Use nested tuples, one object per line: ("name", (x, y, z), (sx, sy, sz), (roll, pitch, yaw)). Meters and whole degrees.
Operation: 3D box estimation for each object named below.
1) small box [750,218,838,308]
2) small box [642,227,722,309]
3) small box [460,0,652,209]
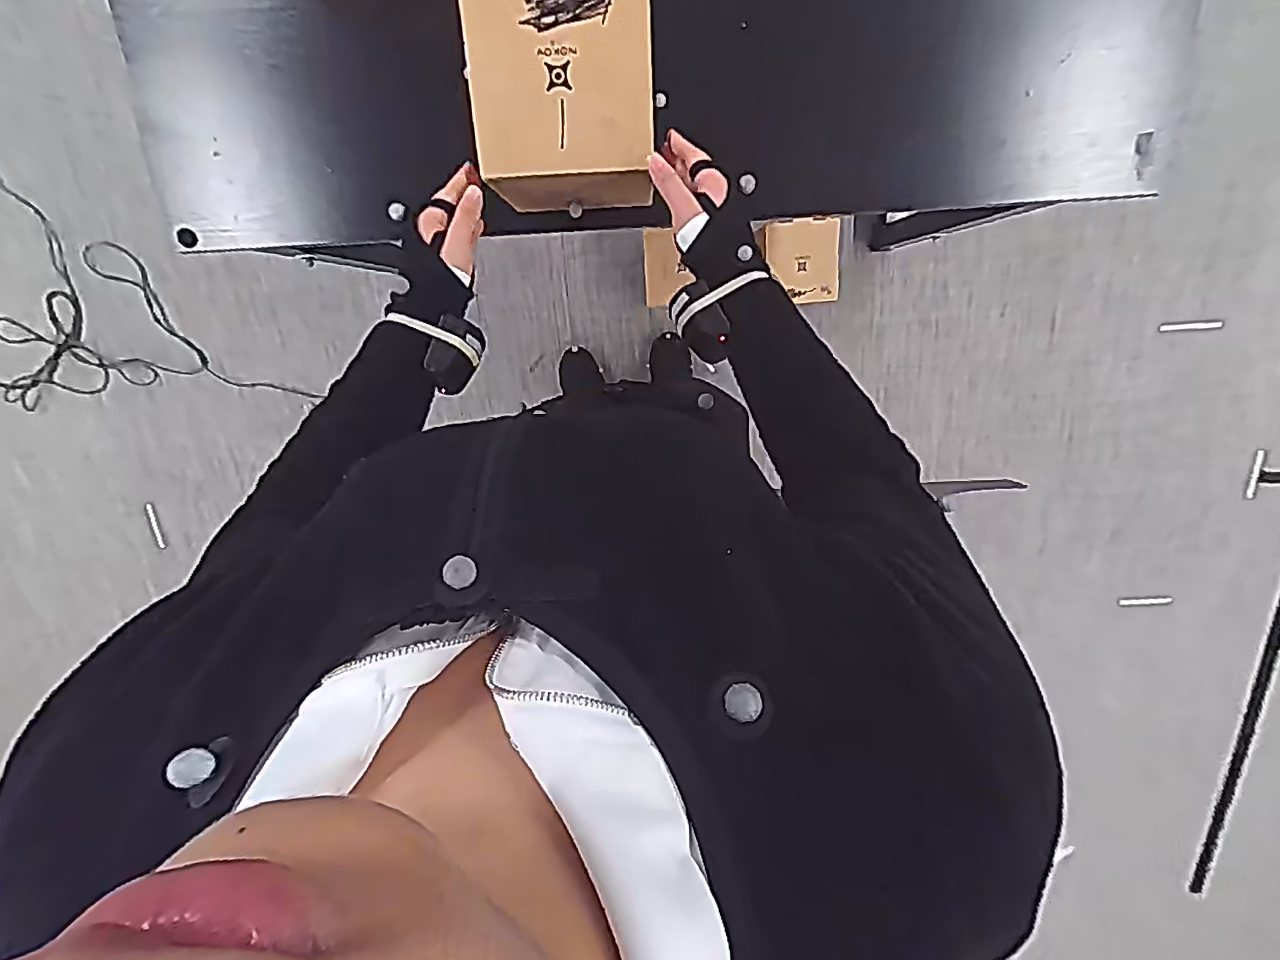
("small box", (0.358, -0.507, 1.281), (0.168, 0.176, 0.179), (-4, 106, 2))
("small box", (0.095, -0.498, 1.287), (0.179, 0.176, 0.168), (-3, 106, 2))
("small box", (-0.073, -0.393, 0.556), (0.168, 0.176, 0.179), (-2, 107, 1))
